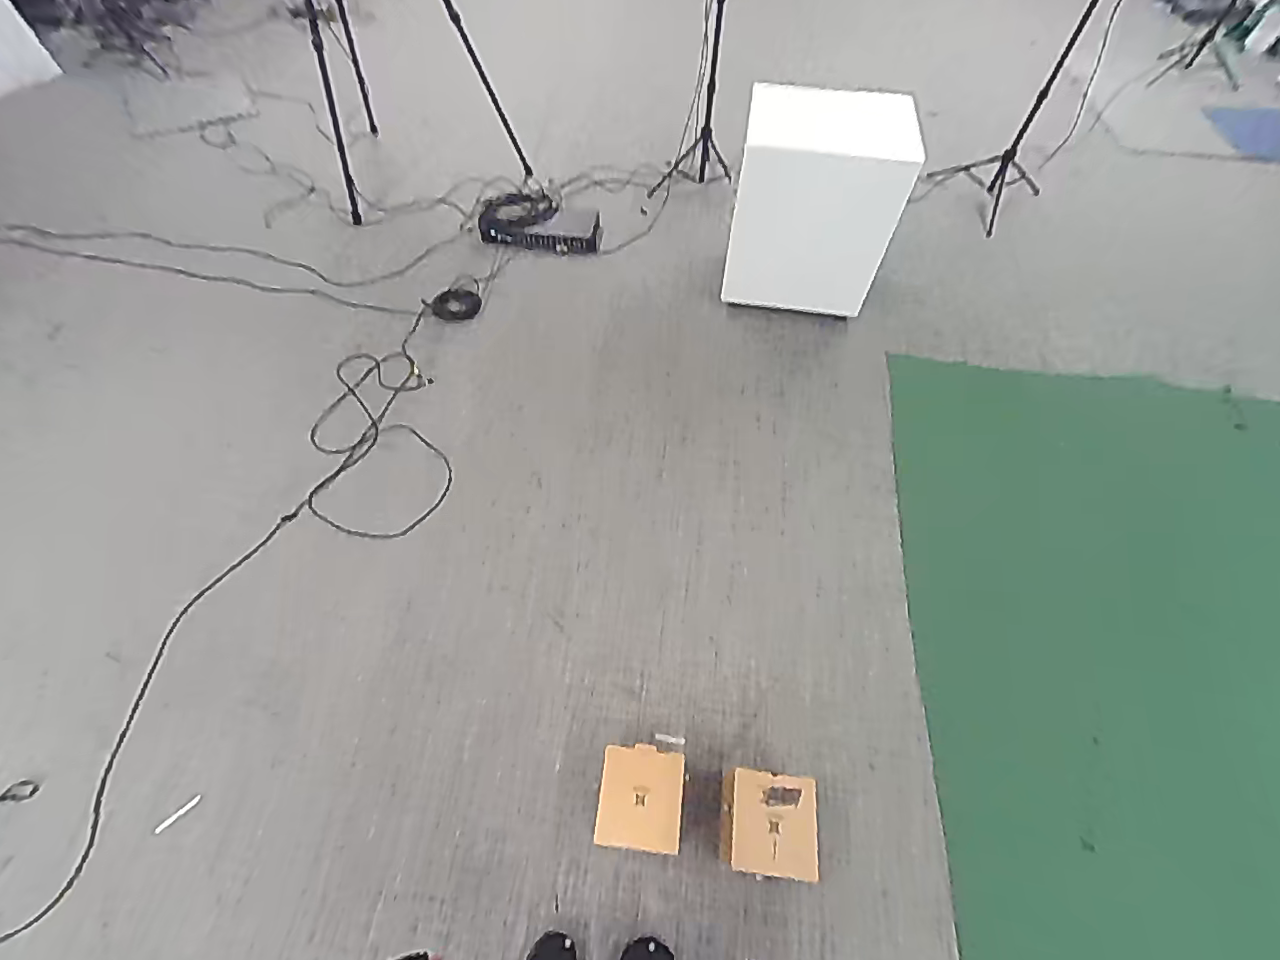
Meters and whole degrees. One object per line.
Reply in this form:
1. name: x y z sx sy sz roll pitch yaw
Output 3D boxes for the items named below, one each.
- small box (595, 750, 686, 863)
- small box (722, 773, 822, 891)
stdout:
1. small box: 0.004 0.682 1.132 0.168 0.176 0.179 6 57 2
2. small box: 0.265 0.718 1.113 0.168 0.176 0.179 7 58 3
